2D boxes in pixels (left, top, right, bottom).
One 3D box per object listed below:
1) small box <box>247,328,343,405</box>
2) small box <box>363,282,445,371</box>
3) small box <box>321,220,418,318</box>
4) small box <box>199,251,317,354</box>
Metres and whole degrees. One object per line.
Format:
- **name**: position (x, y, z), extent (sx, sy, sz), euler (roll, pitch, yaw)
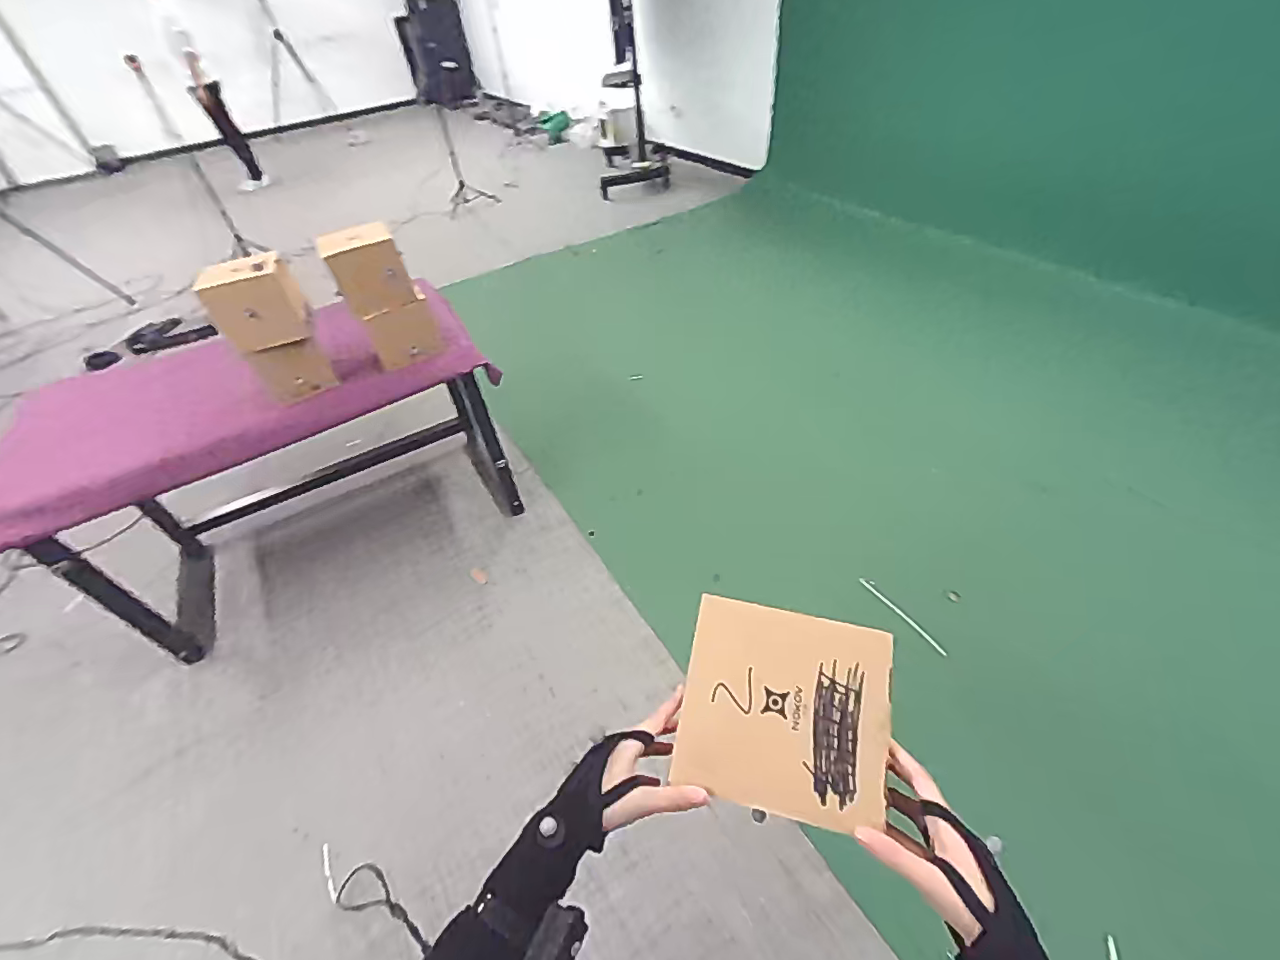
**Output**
- **small box**: position (-0.942, -0.330, 1.466), extent (0.168, 0.176, 0.179), euler (-31, 48, -22)
- **small box**: position (-0.676, -0.441, 1.541), extent (0.179, 0.176, 0.168), euler (-29, 48, -20)
- **small box**: position (-0.706, -0.556, 1.428), extent (0.179, 0.176, 0.168), euler (-25, 47, -16)
- **small box**: position (-0.934, -0.441, 1.342), extent (0.179, 0.176, 0.168), euler (-20, 45, -11)
